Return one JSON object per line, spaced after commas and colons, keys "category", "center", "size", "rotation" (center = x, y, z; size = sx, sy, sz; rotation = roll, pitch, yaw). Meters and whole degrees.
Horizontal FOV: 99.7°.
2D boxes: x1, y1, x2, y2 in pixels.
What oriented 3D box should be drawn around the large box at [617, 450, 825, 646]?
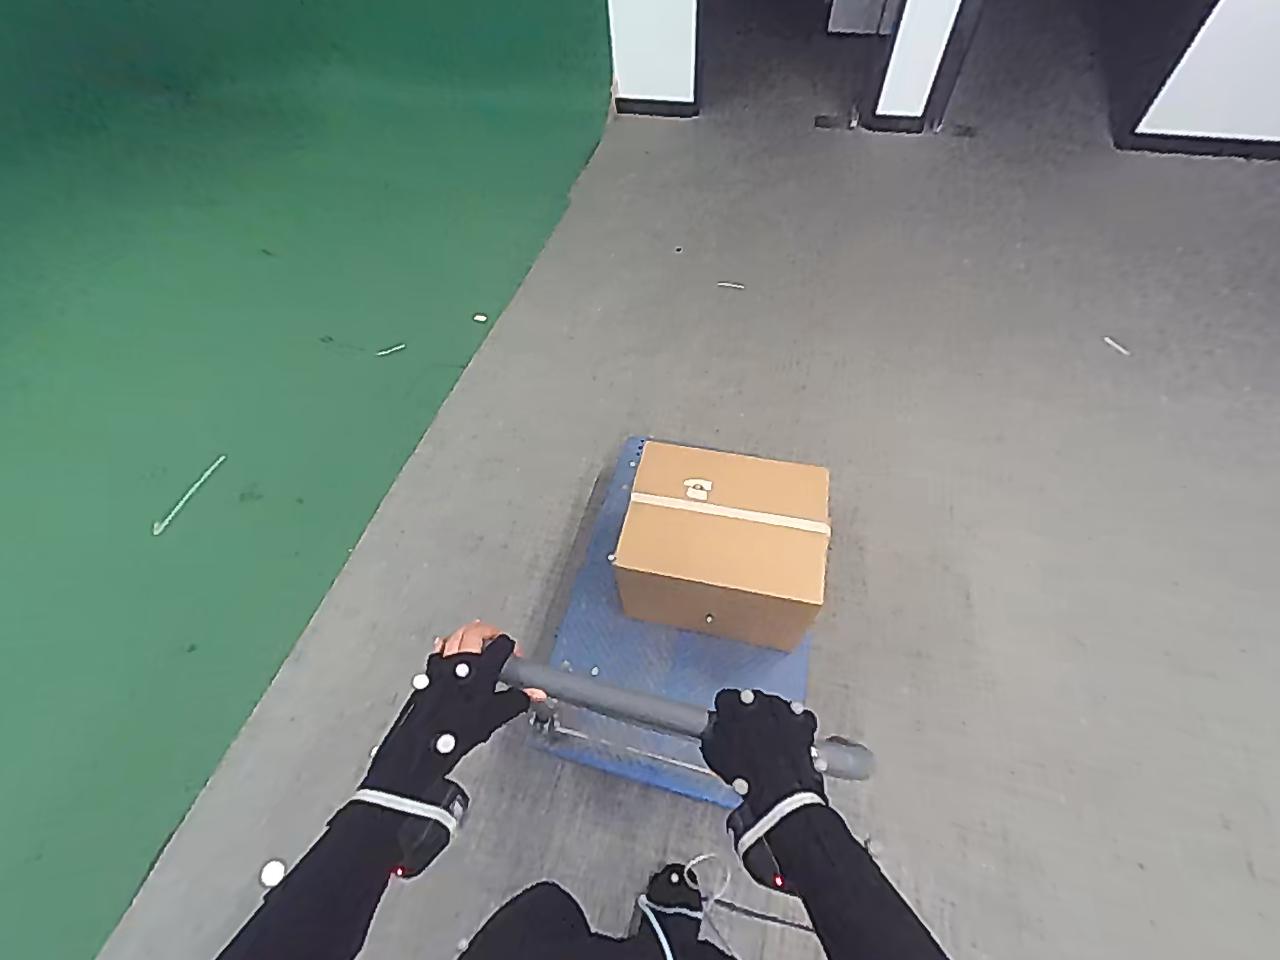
{"category": "large box", "center": [0.189, 0.162, 1.245], "size": [0.408, 0.320, 0.320], "rotation": [8, 57, 10]}
